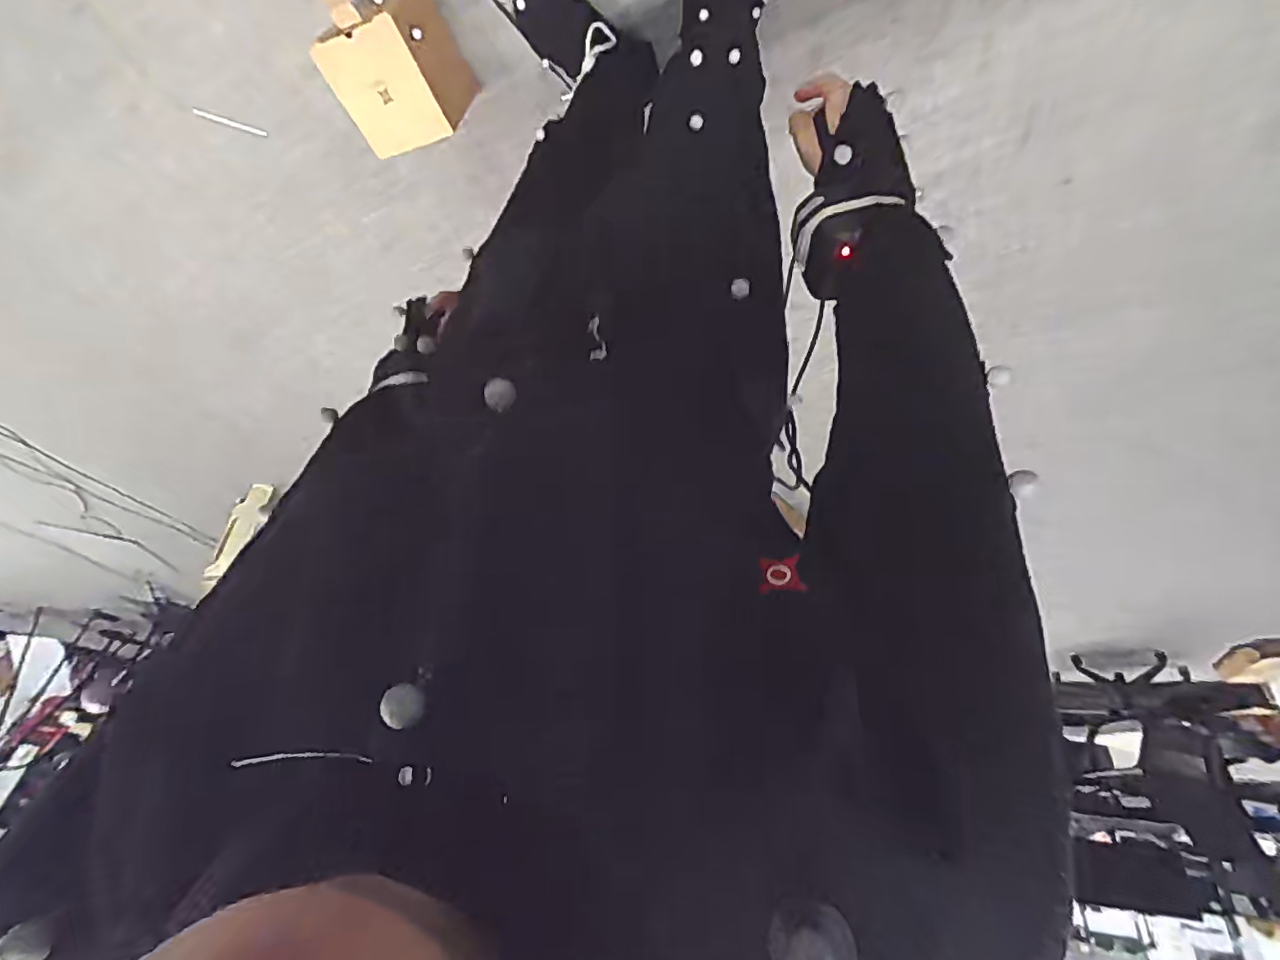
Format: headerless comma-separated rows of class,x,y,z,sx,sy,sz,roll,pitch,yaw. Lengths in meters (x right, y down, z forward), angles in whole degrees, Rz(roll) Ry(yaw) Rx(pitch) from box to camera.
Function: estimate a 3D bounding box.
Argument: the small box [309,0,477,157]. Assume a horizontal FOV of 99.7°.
small box,-0.407,-0.702,0.926,0.168,0.176,0.179,-5,145,18
